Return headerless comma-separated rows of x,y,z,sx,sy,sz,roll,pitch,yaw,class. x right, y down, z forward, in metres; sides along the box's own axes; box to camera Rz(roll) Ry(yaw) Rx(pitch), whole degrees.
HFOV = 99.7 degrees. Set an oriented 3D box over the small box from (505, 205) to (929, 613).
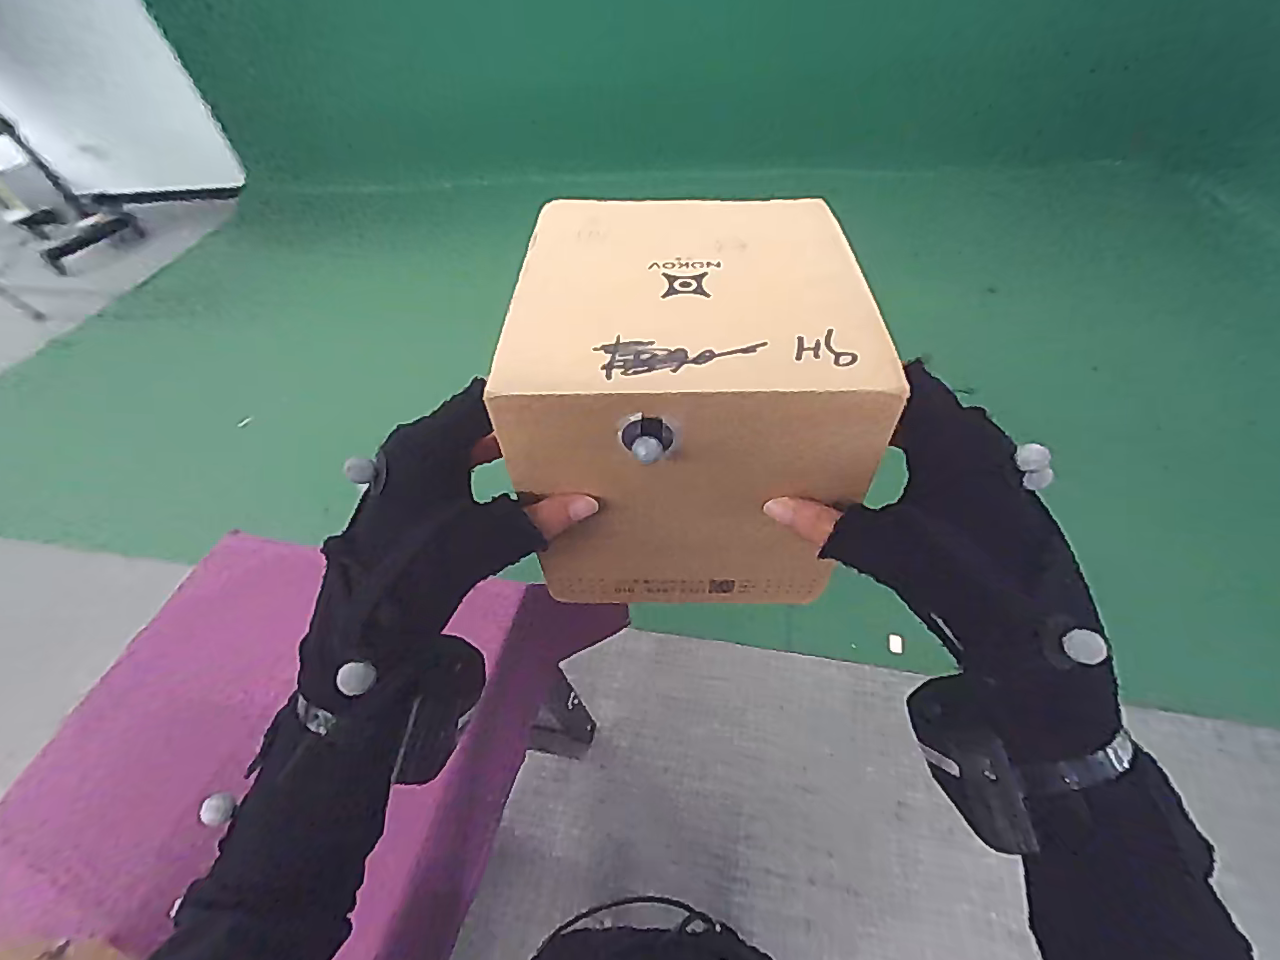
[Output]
0.034,-0.041,0.321,0.168,0.176,0.179,0,49,4,small box
